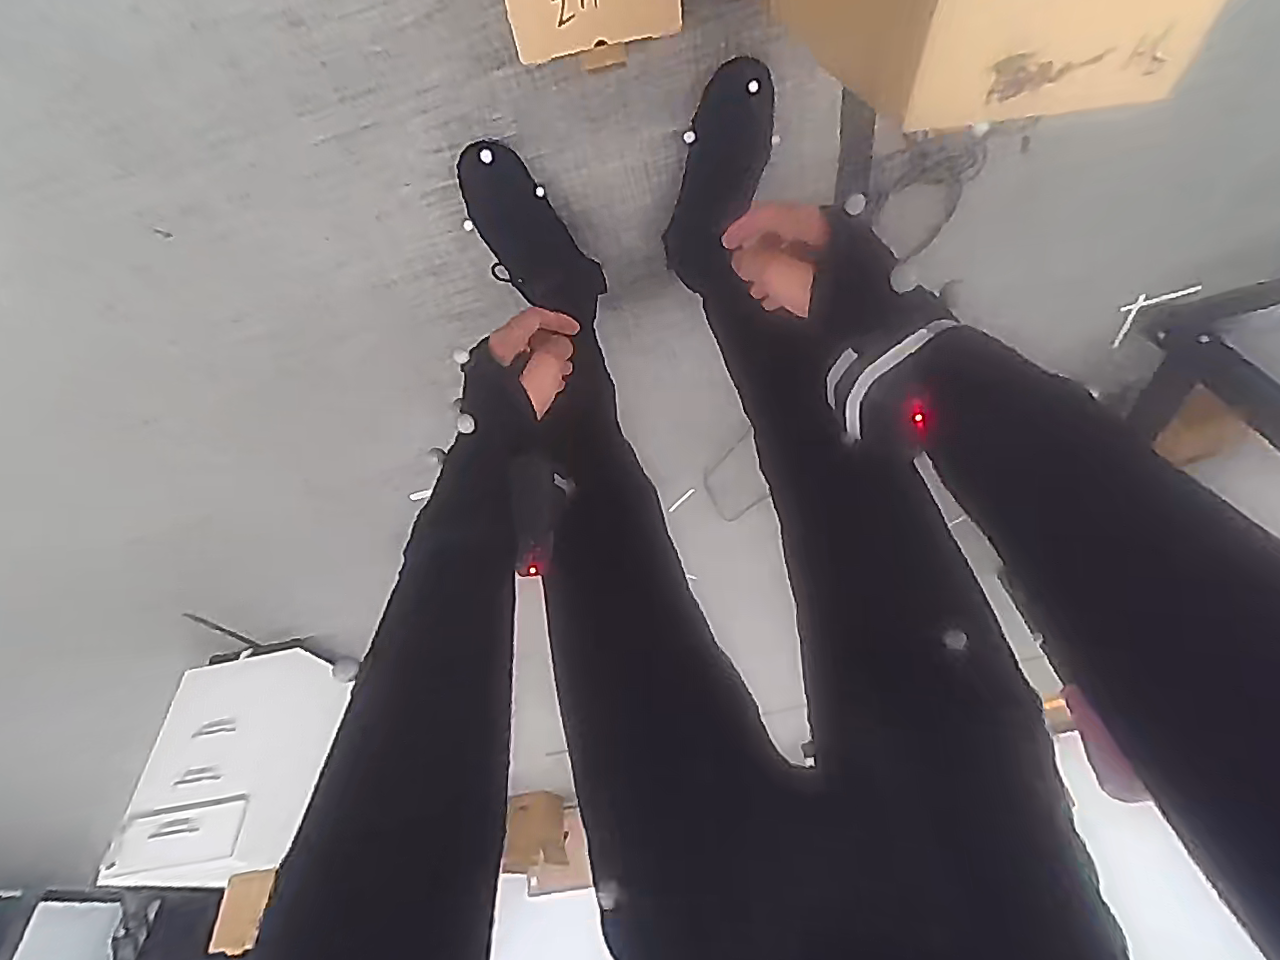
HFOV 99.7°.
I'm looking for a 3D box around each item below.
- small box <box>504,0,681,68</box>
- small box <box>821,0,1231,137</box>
[{"bbox_3d":[-0.059,-0.536,0.519,0.168,0.176,0.179,-10,141,2],"label":"small box"},{"bbox_3d":[0.220,-0.329,0.309,0.168,0.176,0.179,-7,140,-1],"label":"small box"}]
